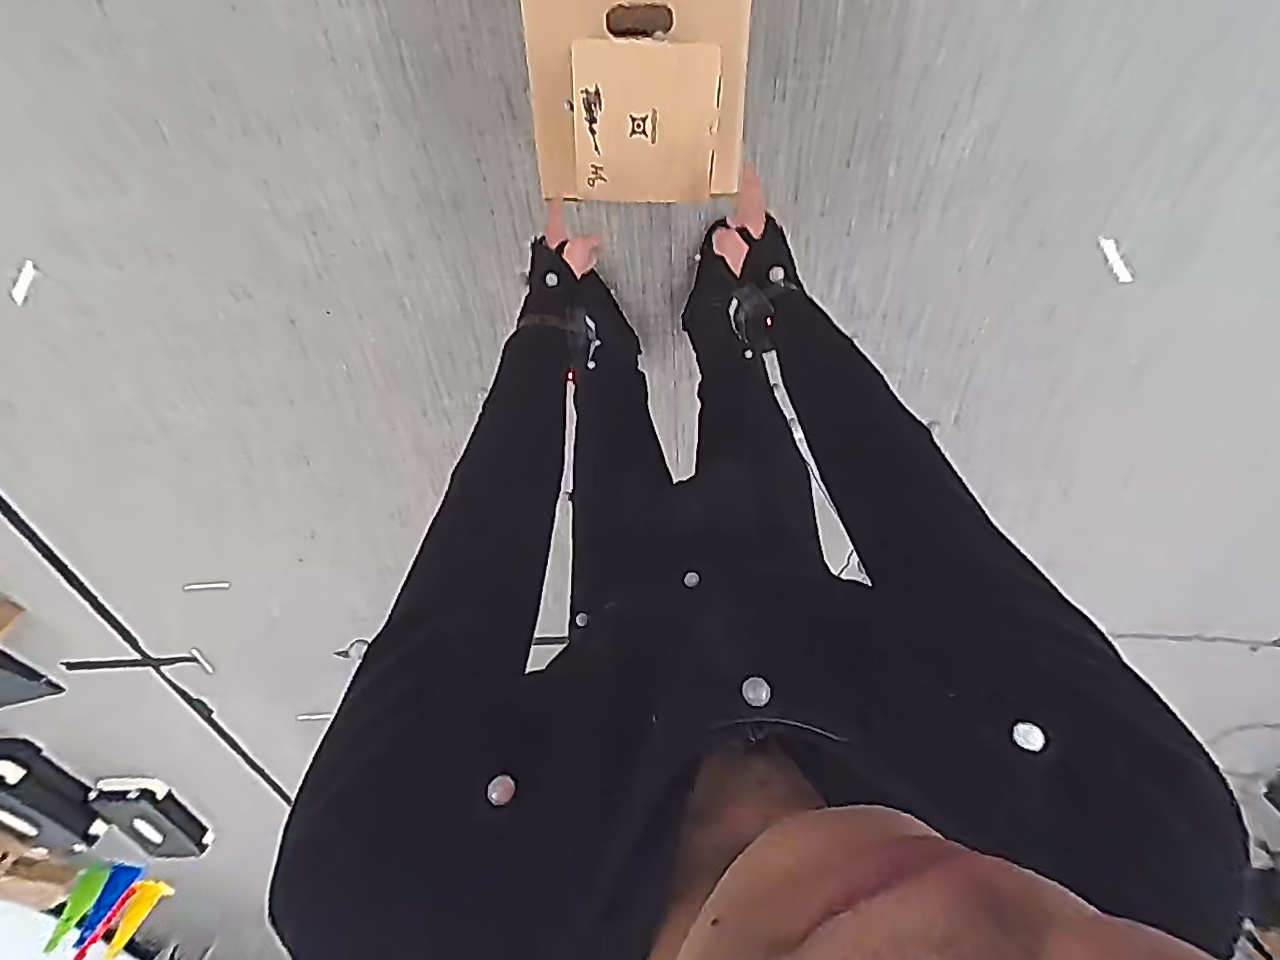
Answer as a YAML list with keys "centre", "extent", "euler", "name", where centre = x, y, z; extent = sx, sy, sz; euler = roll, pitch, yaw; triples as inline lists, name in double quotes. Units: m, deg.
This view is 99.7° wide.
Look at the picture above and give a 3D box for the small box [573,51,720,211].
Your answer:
- centre: [0.001, -0.477, 0.739]
  extent: [0.179, 0.176, 0.168]
  euler: [0, 127, -3]
  name: "small box"
